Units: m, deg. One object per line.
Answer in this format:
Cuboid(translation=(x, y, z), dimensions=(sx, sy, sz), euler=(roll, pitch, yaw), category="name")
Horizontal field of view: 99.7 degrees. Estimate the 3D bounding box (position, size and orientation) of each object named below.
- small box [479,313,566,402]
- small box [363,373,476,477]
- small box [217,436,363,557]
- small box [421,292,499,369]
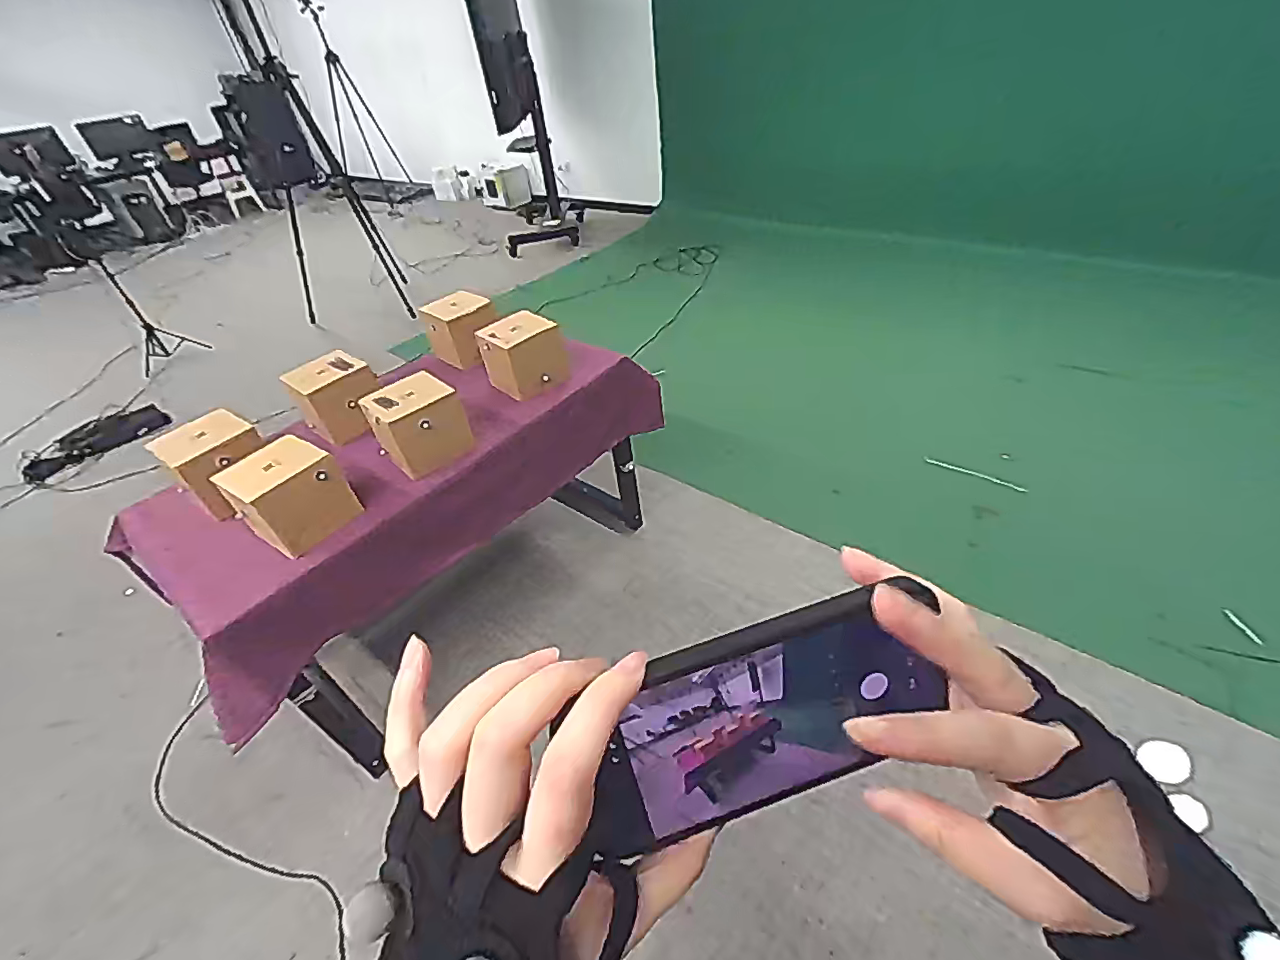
Cuboid(translation=(-0.326, -0.351, 1.542), dimensions=(0.179, 0.176, 0.168), euler=(-35, 47, -28), category="small box")
Cuboid(translation=(-0.533, -0.134, 1.324), dimensions=(0.179, 0.176, 0.168), euler=(-35, 48, -30), category="small box")
Cuboid(translation=(-0.741, 0.036, 1.162), dimensions=(0.168, 0.176, 0.179), euler=(19, 46, 28), category="small box")
Cuboid(translation=(-0.557, -0.472, 1.716), dimensions=(0.179, 0.176, 0.168), euler=(29, 53, 34), category="small box")
